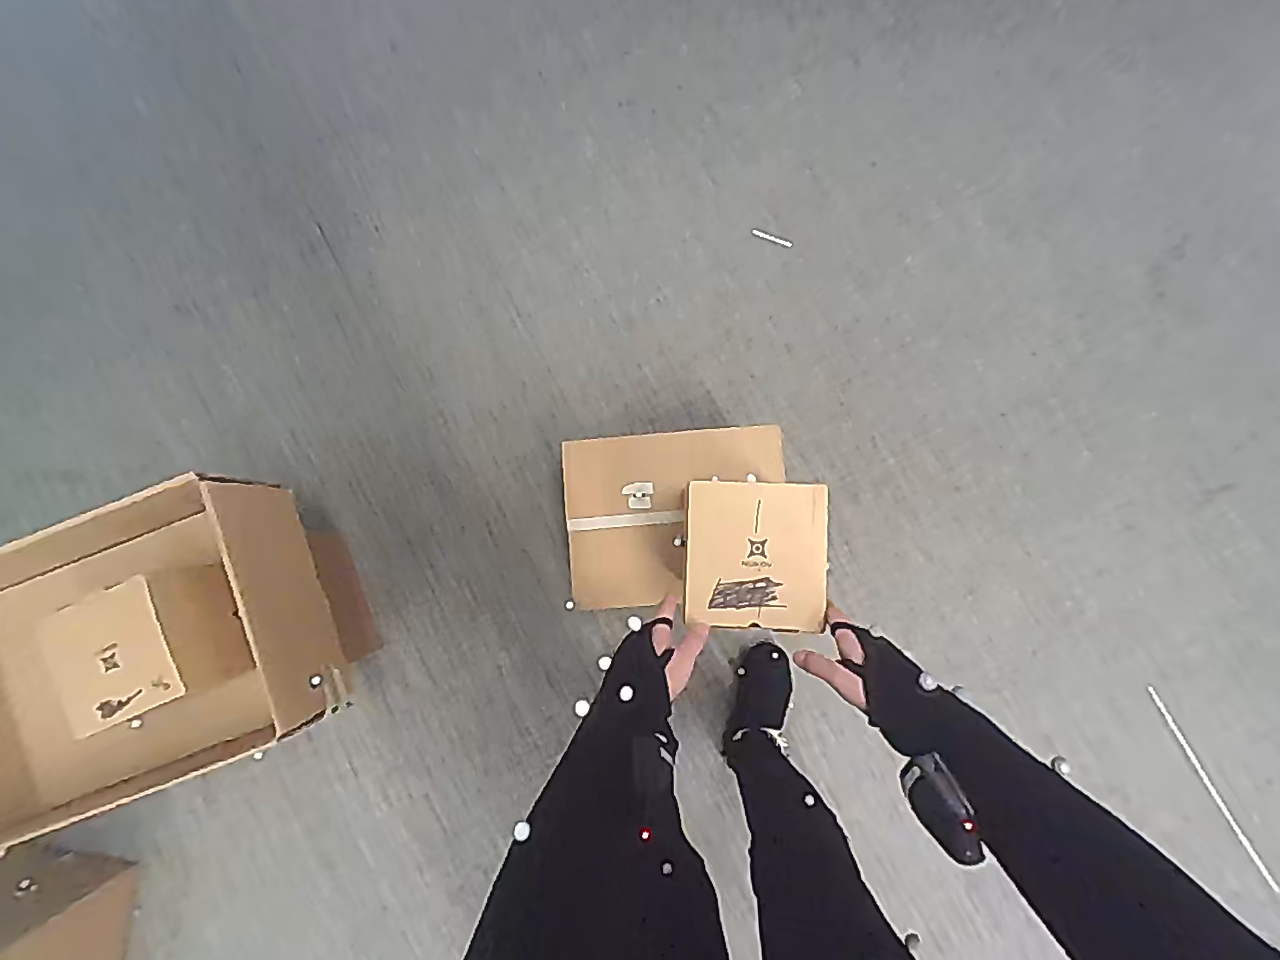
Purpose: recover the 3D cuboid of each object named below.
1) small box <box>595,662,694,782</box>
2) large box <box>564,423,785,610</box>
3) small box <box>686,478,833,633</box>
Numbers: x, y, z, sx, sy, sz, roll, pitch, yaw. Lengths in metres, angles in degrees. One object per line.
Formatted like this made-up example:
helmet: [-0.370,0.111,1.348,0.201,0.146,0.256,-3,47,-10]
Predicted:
small box: [0.017,0.523,1.200,0.168,0.176,0.179,18,83,10]
large box: [0.080,0.074,1.126,0.408,0.320,0.320,-5,86,3]
small box: [0.146,0.091,0.712,0.168,0.176,0.179,2,87,4]
